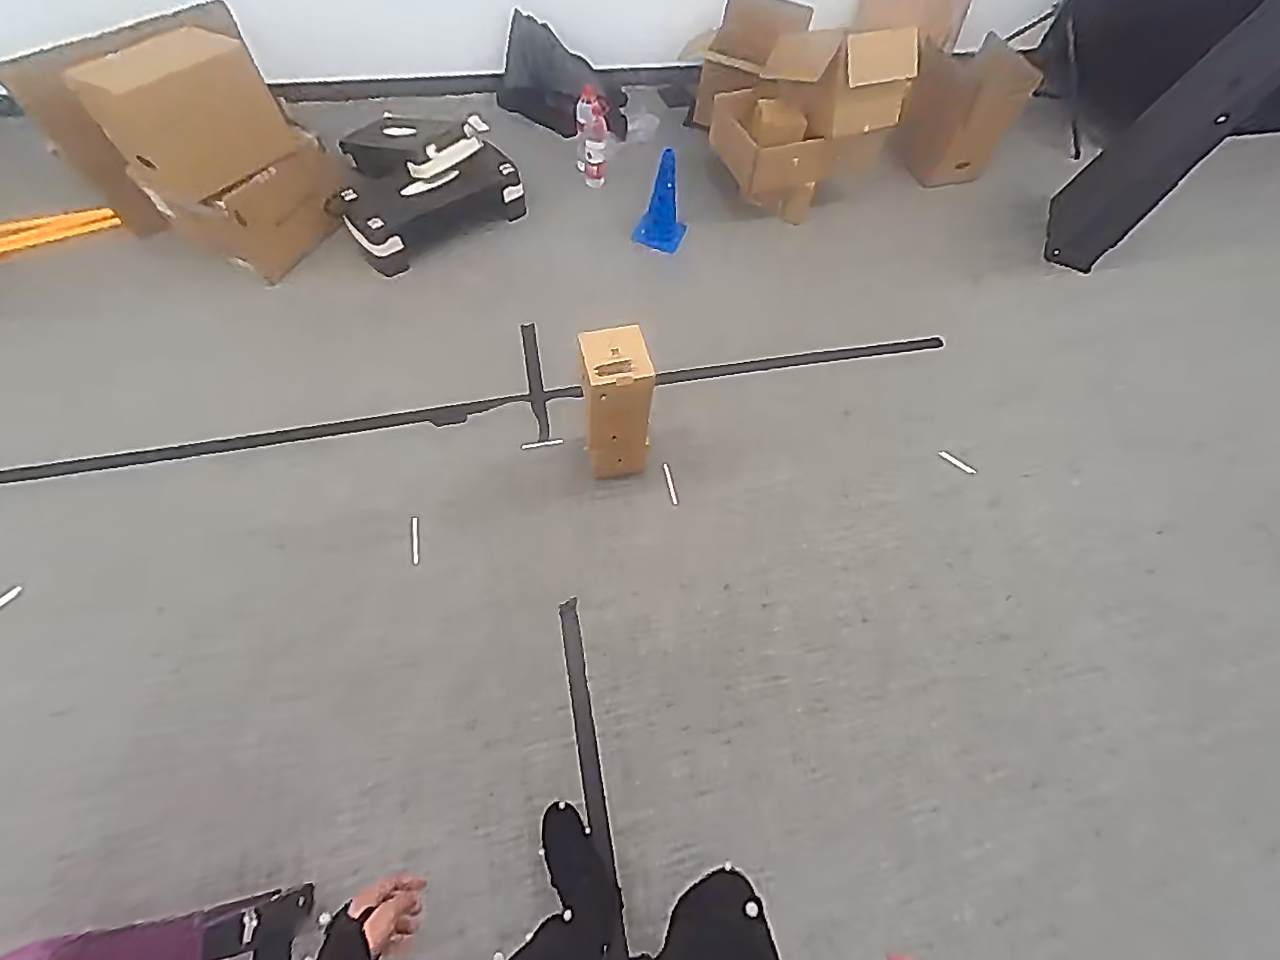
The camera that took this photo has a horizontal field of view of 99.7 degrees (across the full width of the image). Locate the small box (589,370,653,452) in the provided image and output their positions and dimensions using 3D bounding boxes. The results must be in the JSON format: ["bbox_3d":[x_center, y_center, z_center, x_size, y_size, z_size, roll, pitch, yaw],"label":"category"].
[{"bbox_3d":[-0.062,-0.201,1.591,0.168,0.176,0.179,-5,64,-8],"label":"small box"}]

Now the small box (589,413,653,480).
[{"bbox_3d":[-0.067,-0.115,1.730,0.179,0.176,0.168,-10,64,-9],"label":"small box"}]
